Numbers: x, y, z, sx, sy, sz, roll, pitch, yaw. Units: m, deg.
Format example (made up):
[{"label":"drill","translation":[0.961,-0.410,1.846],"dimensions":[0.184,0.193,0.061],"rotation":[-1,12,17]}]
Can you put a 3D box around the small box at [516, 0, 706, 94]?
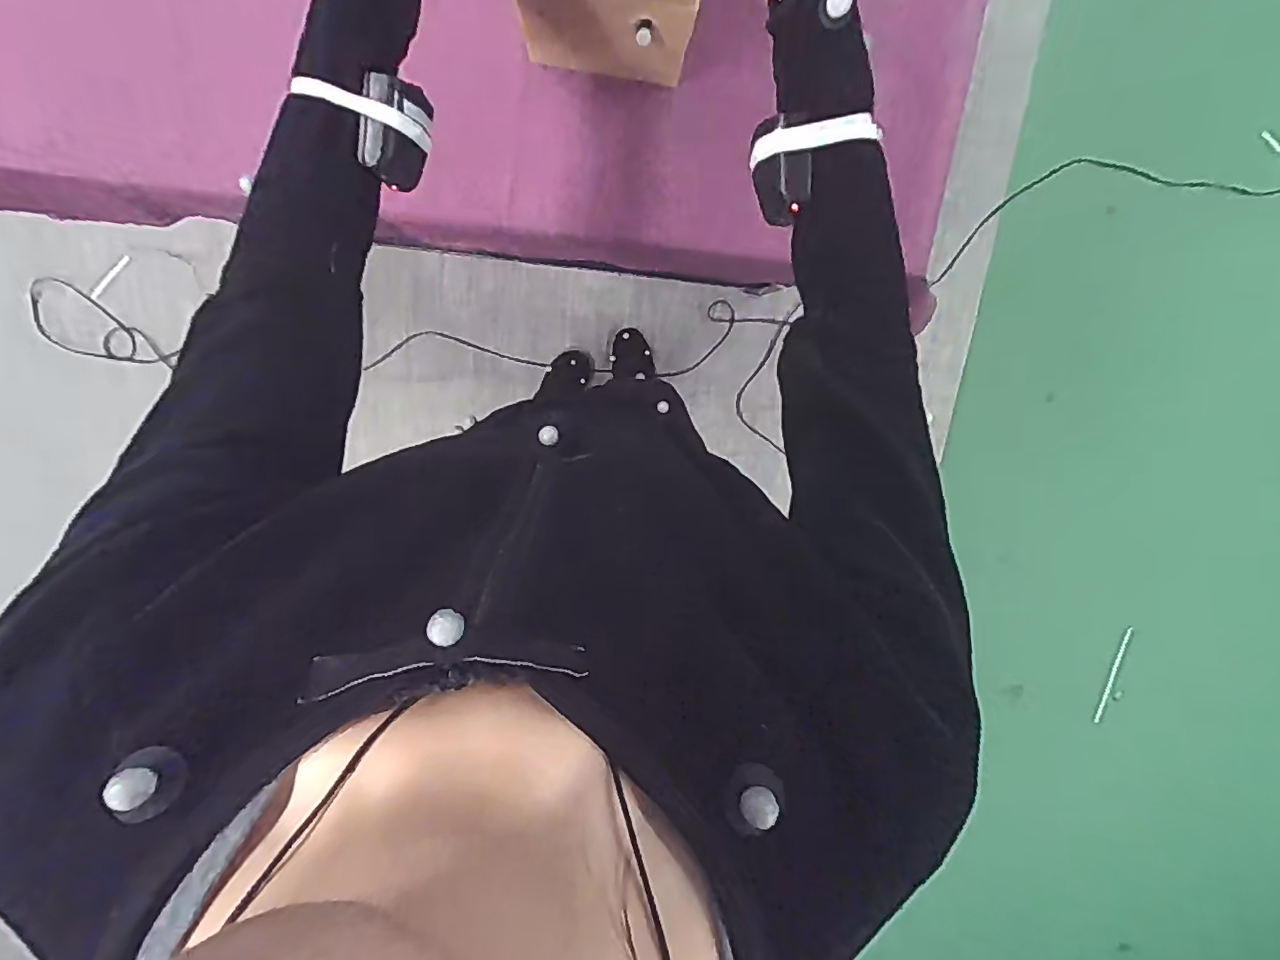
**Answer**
[{"label":"small box","translation":[-0.024,-0.527,0.550],"dimensions":[0.179,0.176,0.168],"rotation":[6,104,-5]}]
